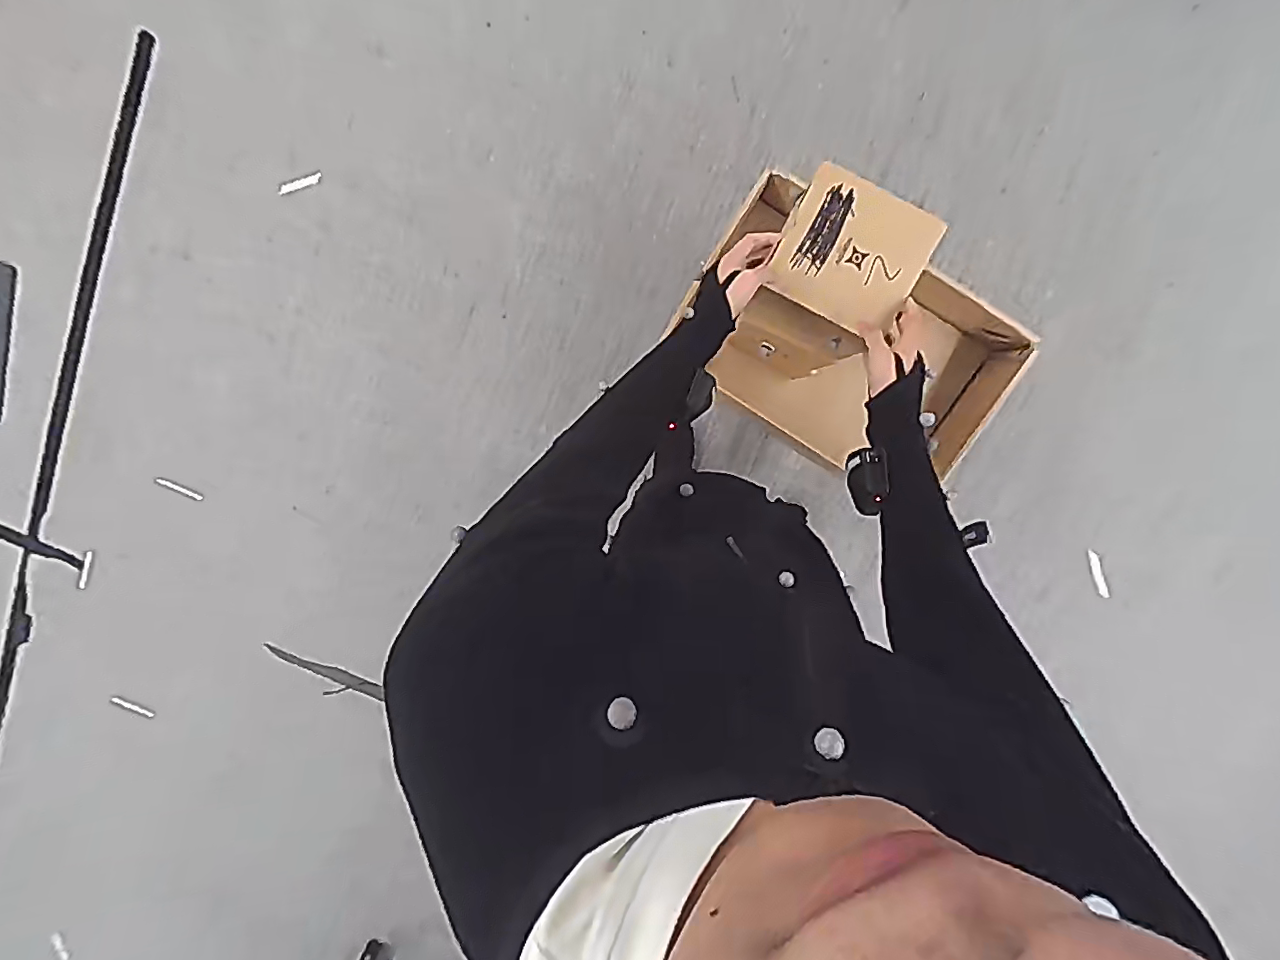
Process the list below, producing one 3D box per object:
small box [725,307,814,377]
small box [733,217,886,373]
[{"bbox_3d":[0.286,-0.313,1.074,0.179,0.176,0.168,29,98,-2],"label":"small box"},{"bbox_3d":[0.270,-0.298,0.911,0.168,0.176,0.179,27,97,0],"label":"small box"}]
